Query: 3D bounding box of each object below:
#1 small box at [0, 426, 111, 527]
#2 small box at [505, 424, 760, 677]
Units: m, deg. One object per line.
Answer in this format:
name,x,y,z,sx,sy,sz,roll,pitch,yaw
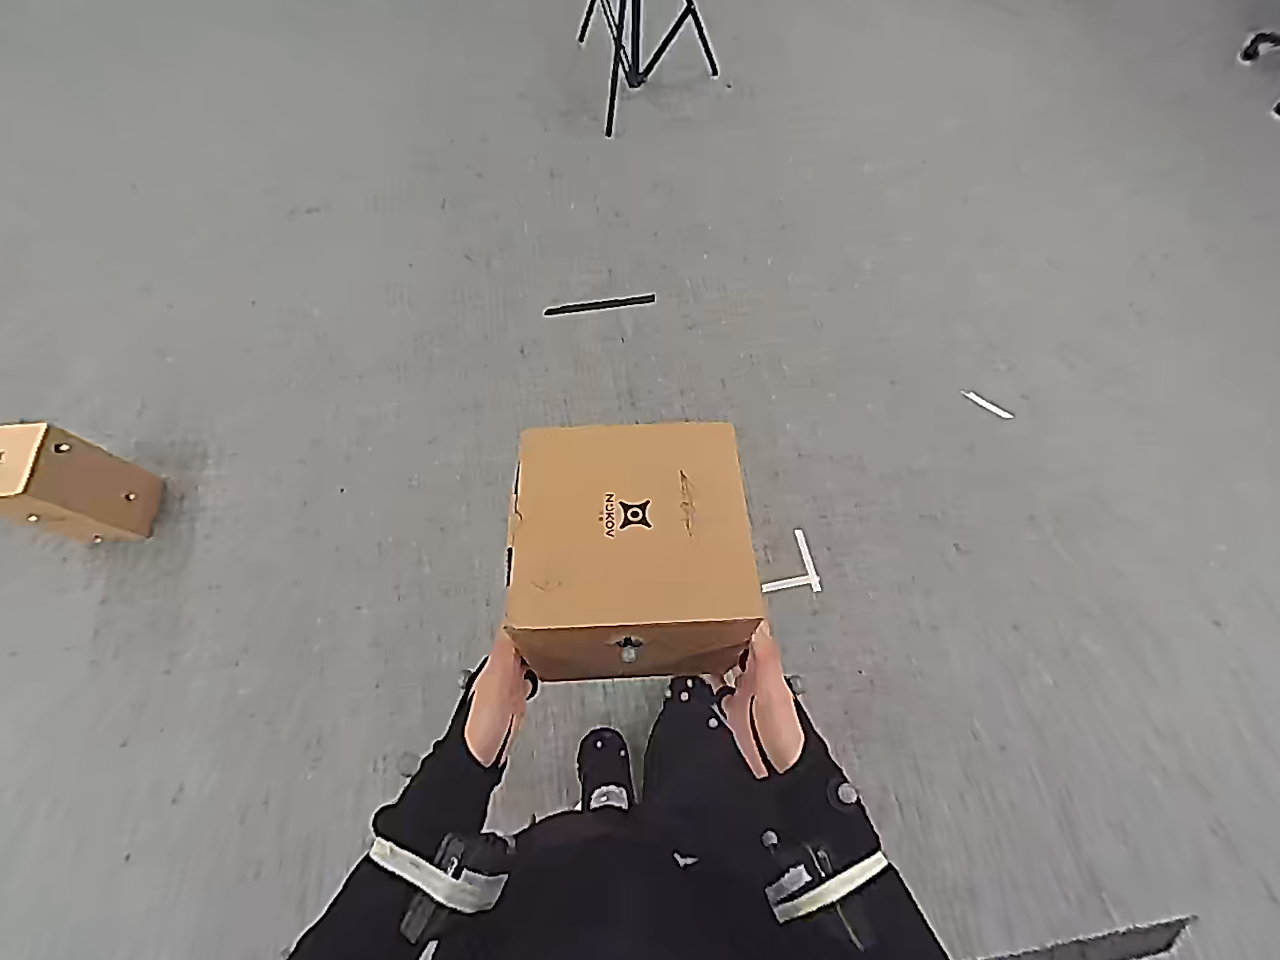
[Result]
small box,-1.383,-0.004,1.239,0.168,0.176,0.179,-5,68,-3
small box,-0.008,0.069,0.471,0.179,0.176,0.168,-2,59,-3
